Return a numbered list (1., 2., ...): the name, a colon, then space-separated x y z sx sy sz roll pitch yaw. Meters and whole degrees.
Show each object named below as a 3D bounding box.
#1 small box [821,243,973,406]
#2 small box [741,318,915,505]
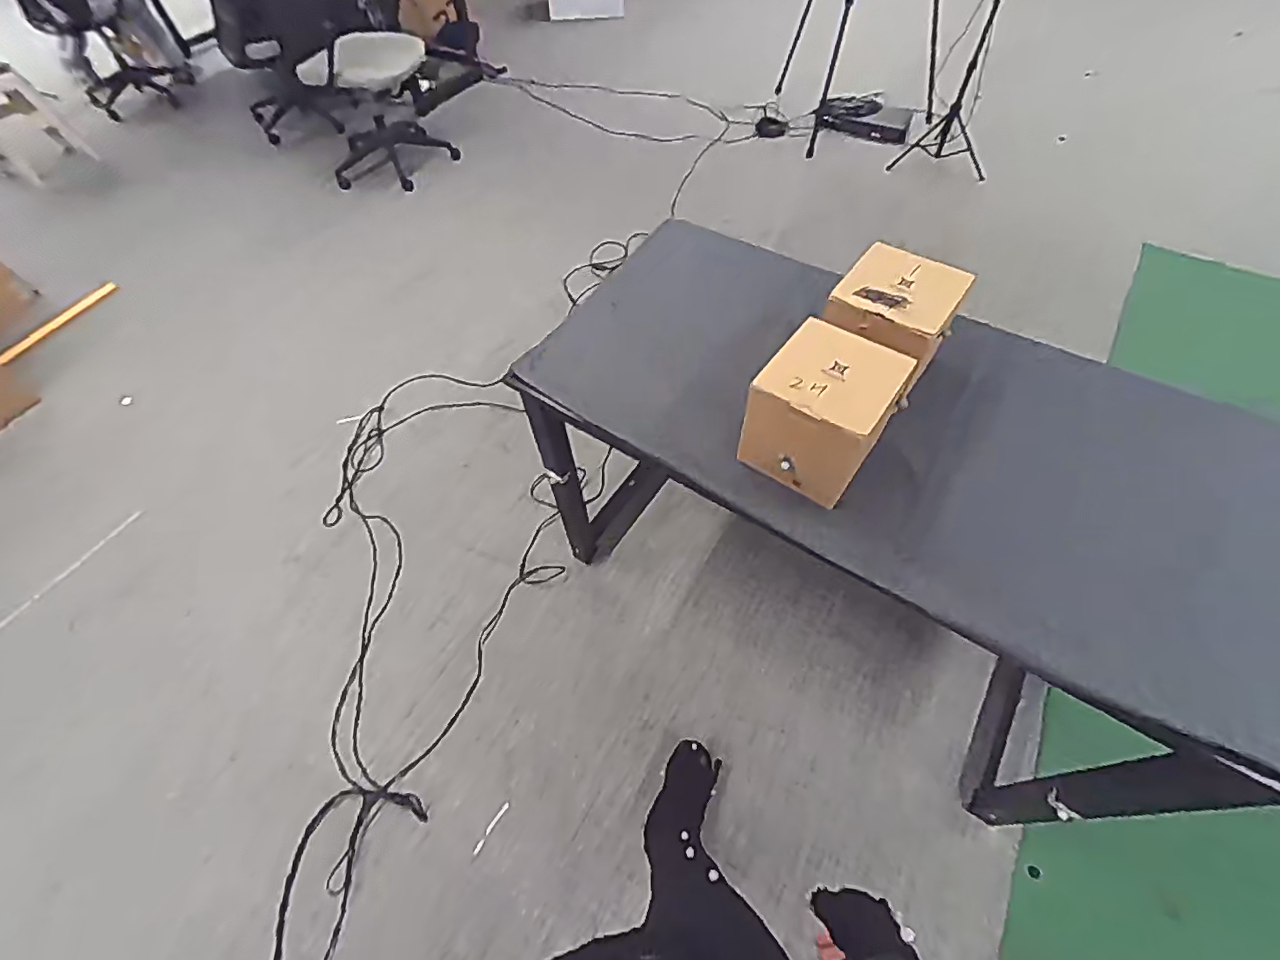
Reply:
1. small box: 0.404 -0.252 0.897 0.168 0.176 0.179 32 63 21
2. small box: 0.265 -0.099 0.799 0.168 0.176 0.179 31 62 21
